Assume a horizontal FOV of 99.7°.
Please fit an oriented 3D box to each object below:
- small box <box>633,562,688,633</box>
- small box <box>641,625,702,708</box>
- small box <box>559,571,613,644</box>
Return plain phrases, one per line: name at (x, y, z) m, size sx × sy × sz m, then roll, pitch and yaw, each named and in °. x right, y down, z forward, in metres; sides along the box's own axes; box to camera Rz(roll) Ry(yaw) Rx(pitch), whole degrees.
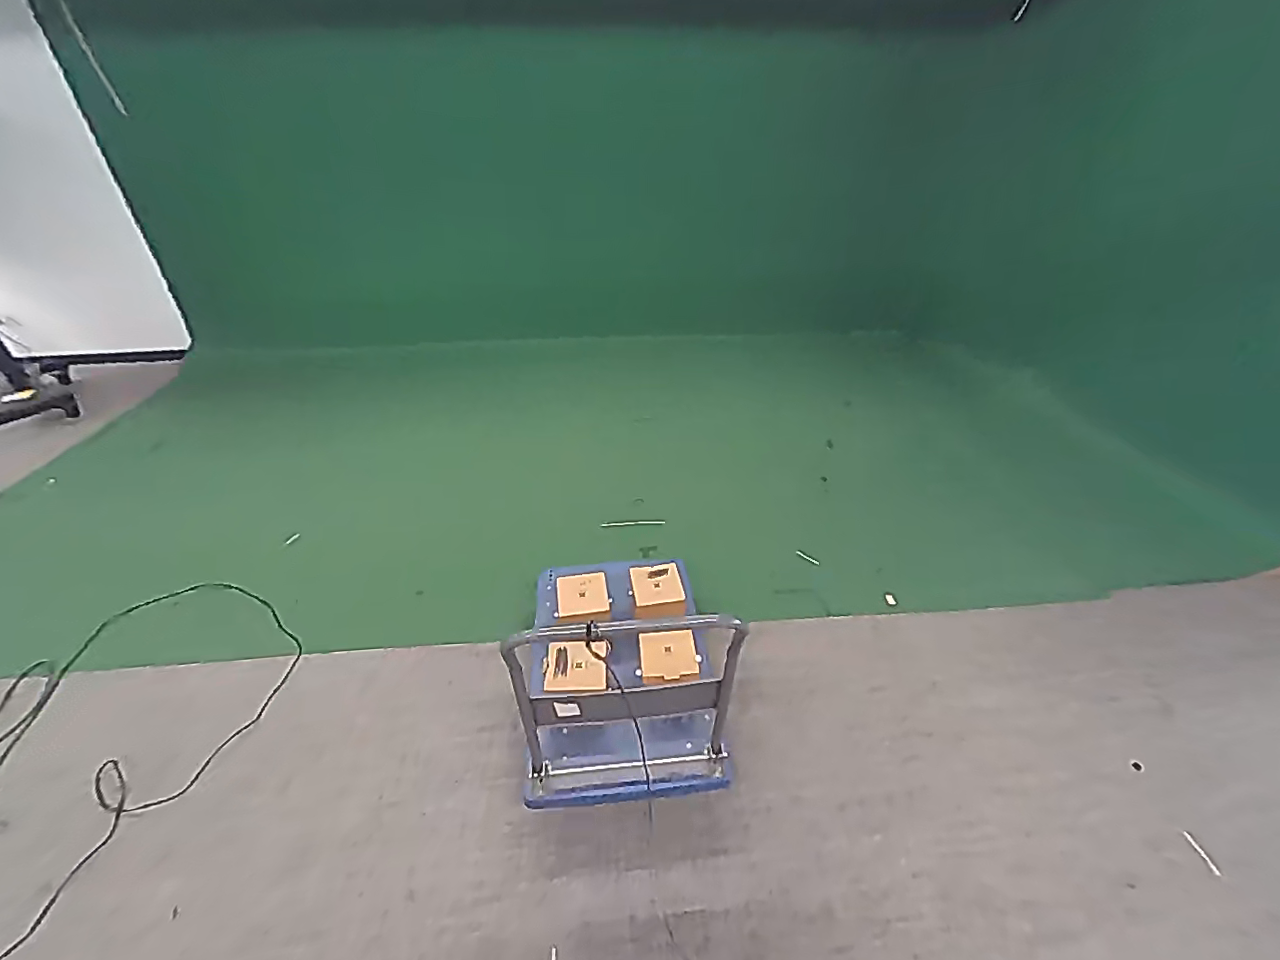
small box at (0.065, 0.409, 1.860) m, size 0.168 × 0.176 × 0.179 m, roll -6°, pitch 37°, yaw -6°
small box at (0.090, 0.565, 1.641) m, size 0.168 × 0.176 × 0.179 m, roll -3°, pitch 36°, yaw -3°
small box at (-0.183, 0.436, 1.829) m, size 0.168 × 0.176 × 0.179 m, roll -5°, pitch 36°, yaw -7°
